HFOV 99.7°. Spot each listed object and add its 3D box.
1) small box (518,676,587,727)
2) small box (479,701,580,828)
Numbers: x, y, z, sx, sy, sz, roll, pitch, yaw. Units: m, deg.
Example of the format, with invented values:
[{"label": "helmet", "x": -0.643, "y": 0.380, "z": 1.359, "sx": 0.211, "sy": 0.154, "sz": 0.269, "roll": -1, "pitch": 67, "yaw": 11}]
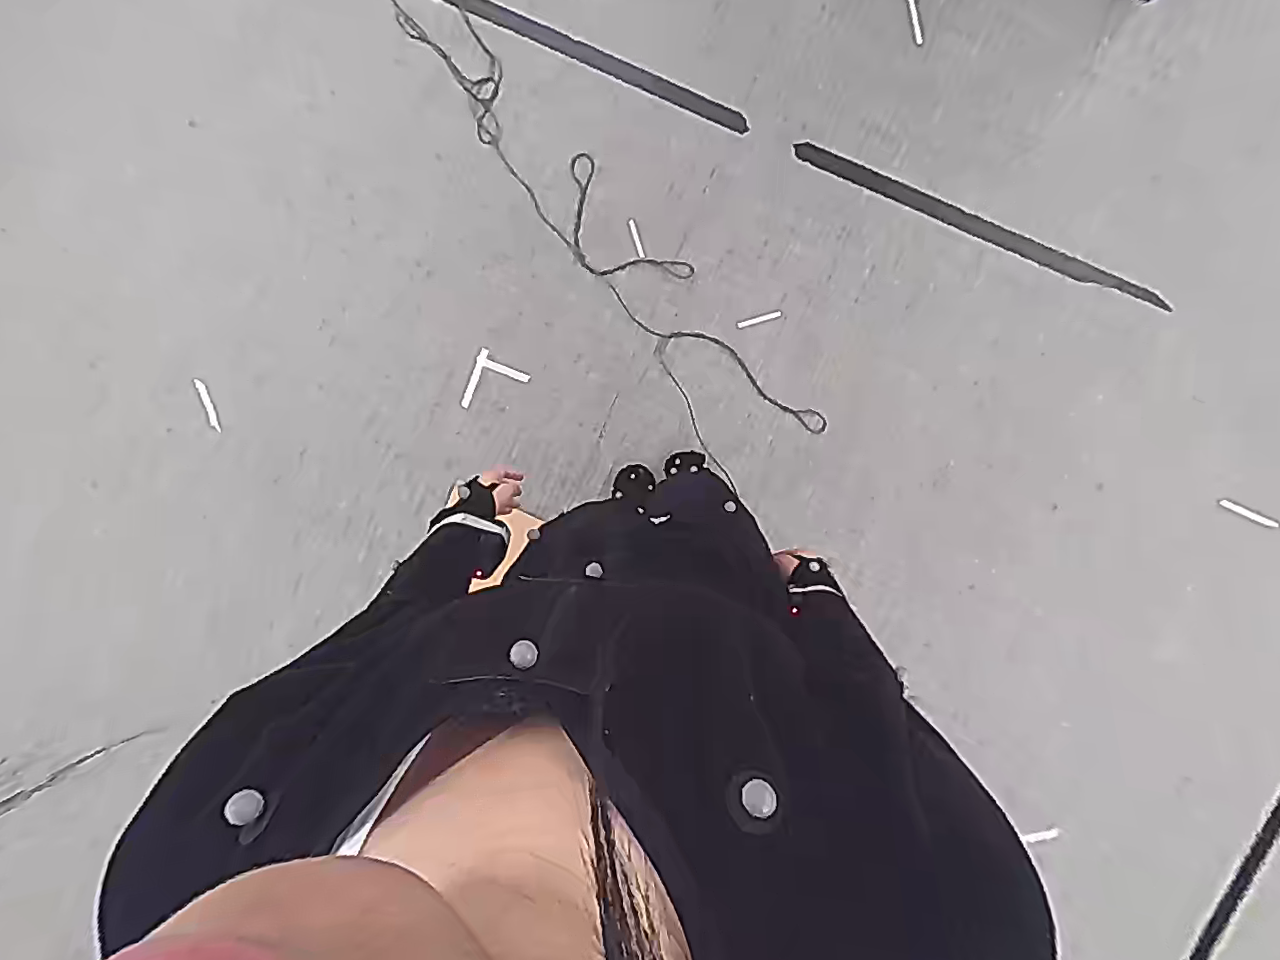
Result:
[{"label": "small box", "x": -0.245, "y": 0.649, "z": 1.435, "sx": 0.168, "sy": 0.176, "sz": 0.179, "roll": 17, "pitch": 93, "yaw": 2}, {"label": "small box", "x": -0.250, "y": 0.659, "z": 1.271, "sx": 0.168, "sy": 0.176, "sz": 0.179, "roll": 19, "pitch": 93, "yaw": 1}]
